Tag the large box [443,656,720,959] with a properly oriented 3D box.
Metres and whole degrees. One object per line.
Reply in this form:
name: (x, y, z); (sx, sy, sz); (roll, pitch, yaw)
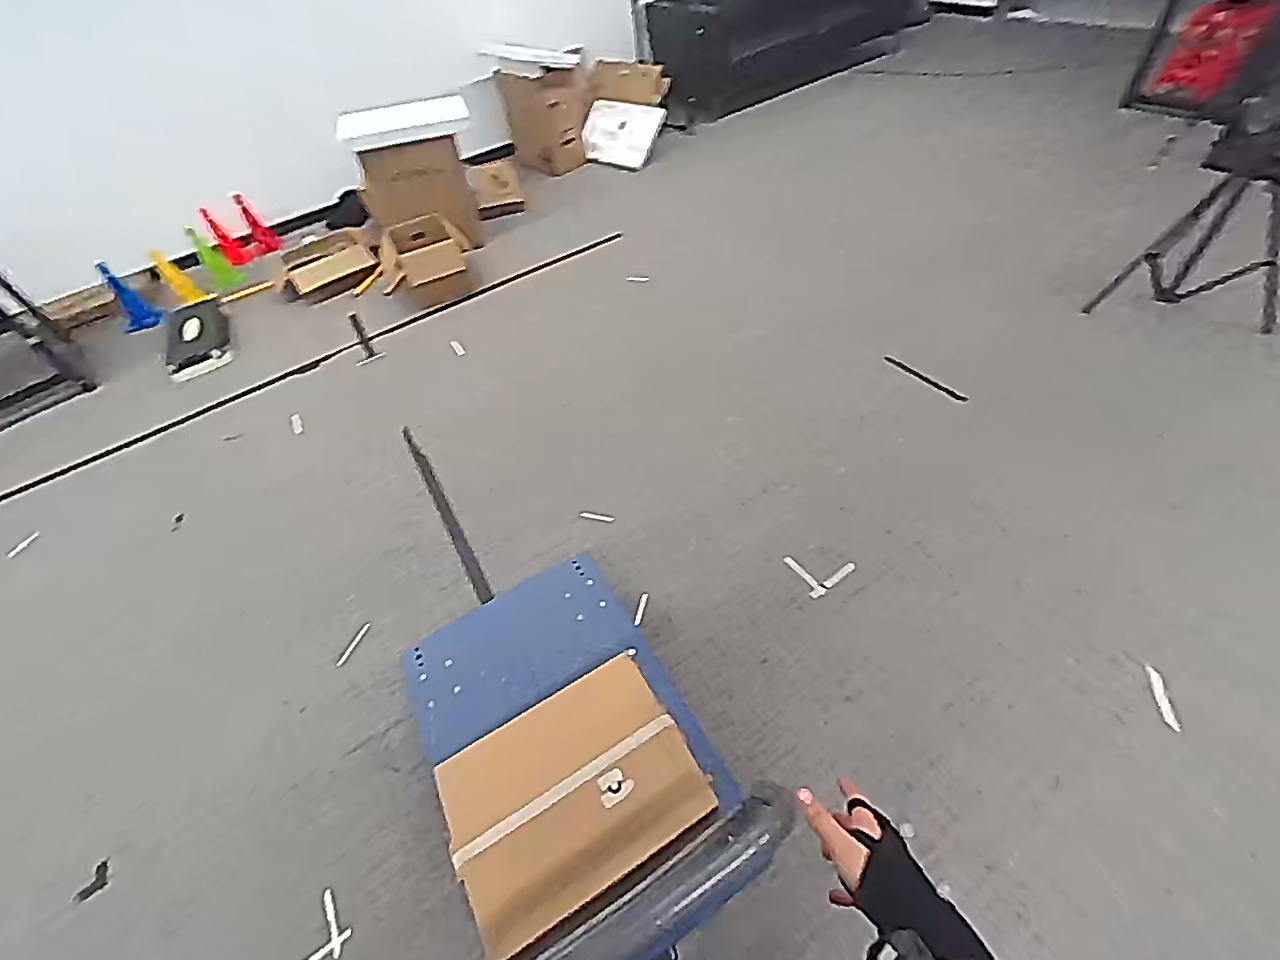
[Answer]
large box: (-0.095, 0.626, 1.037); (0.408, 0.320, 0.320); (-27, 51, -15)
